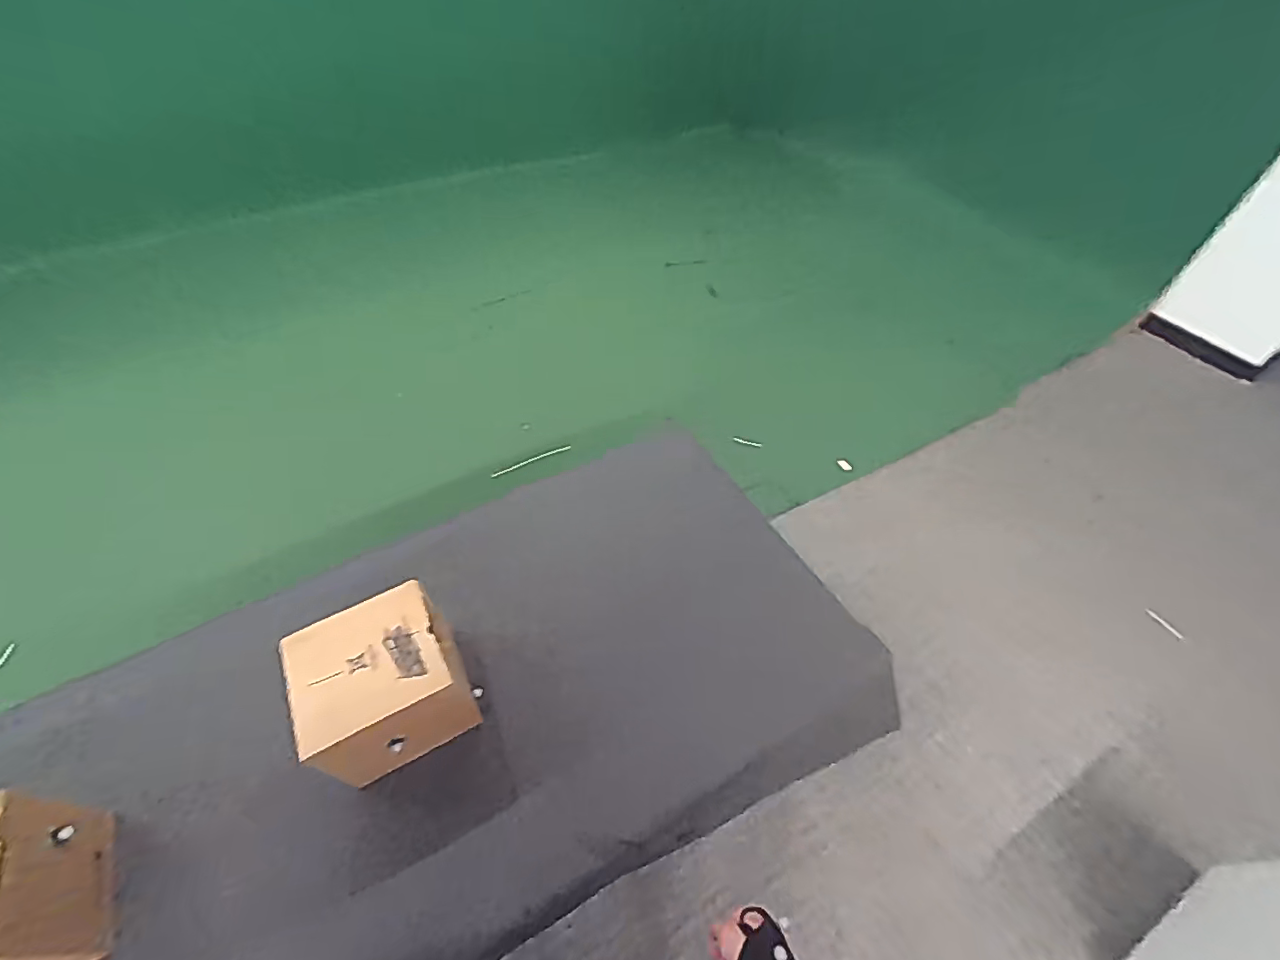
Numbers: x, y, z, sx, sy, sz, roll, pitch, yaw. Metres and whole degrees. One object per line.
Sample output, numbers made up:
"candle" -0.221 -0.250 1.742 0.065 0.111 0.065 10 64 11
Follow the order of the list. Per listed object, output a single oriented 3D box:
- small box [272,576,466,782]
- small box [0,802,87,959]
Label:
"small box" -0.342 0.263 0.712 0.179 0.176 0.168 -23 55 -19
"small box" -0.718 0.450 0.543 0.179 0.176 0.168 -25 55 -20
